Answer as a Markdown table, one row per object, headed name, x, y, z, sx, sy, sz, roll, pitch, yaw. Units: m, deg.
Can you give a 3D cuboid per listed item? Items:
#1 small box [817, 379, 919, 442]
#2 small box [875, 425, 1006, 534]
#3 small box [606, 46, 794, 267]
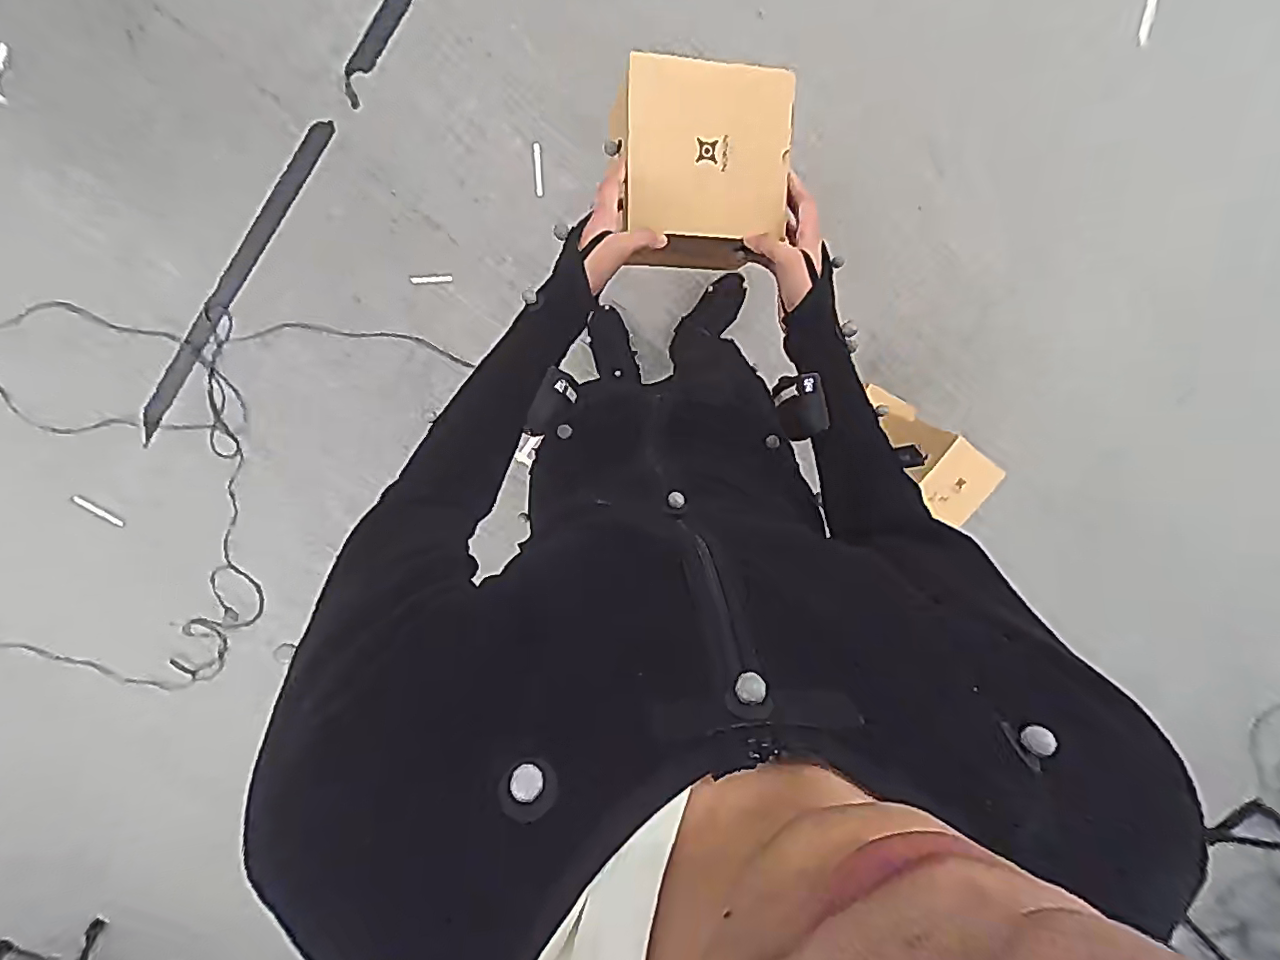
| name | x | y | z | sx | sy | sz | roll | pitch | yaw |
| --- | --- | --- | --- | --- | --- | --- | --- | --- | --- |
| small box | 0.655 | -0.180 | 1.572 | 0.179 | 0.176 | 0.168 | 26 | 105 | -13 |
| small box | 0.704 | -0.009 | 1.289 | 0.168 | 0.176 | 0.179 | 33 | 103 | -15 |
| small box | 0.054 | -0.346 | 0.616 | 0.179 | 0.176 | 0.168 | -2 | 101 | -11 |
